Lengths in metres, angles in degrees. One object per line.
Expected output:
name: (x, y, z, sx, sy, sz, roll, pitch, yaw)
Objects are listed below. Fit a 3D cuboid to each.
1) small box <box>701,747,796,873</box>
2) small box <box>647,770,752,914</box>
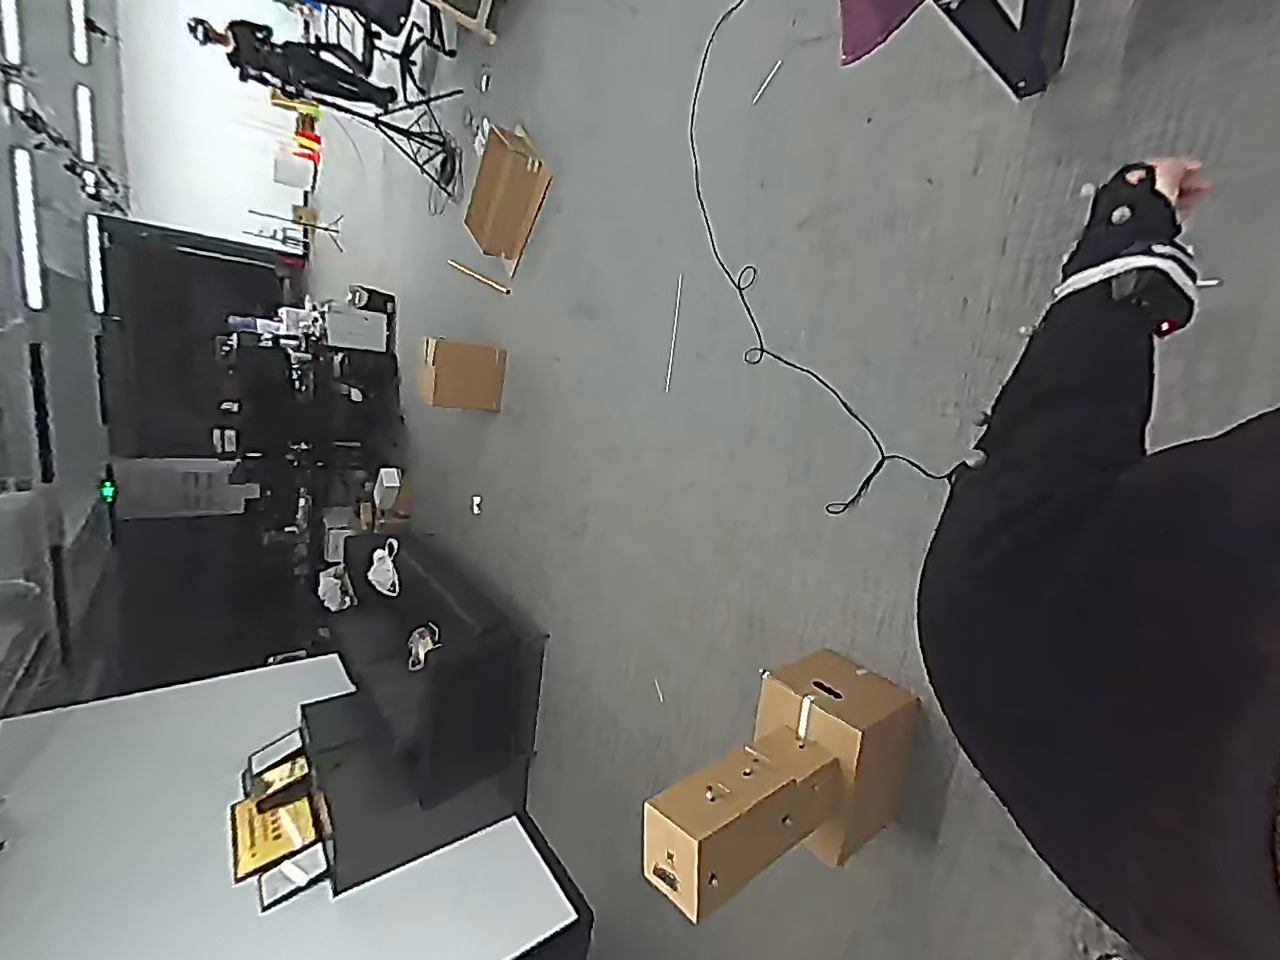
small box: (0.260, 0.780, 1.304, 0.168, 0.176, 0.179, 6, 96, 50)
small box: (0.133, 0.787, 1.199, 0.168, 0.176, 0.179, 5, 95, 50)
